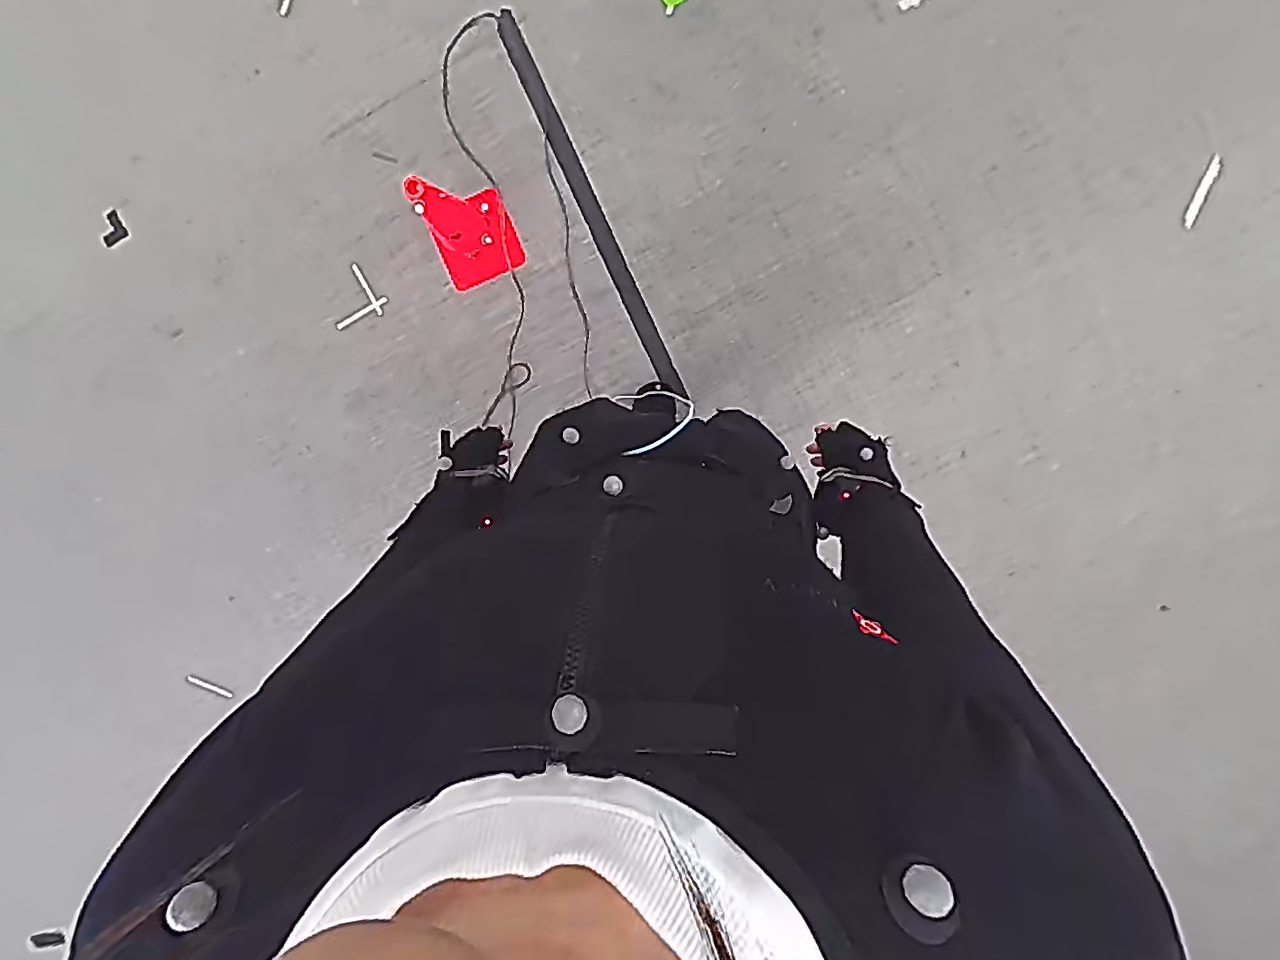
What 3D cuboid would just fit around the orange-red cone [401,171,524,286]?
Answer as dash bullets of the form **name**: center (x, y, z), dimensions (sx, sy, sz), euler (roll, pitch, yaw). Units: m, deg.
- **orange-red cone**: center (-0.414, -0.576, 1.170), dimensions (0.199, 0.360, 0.198), euler (-20, 97, 7)
